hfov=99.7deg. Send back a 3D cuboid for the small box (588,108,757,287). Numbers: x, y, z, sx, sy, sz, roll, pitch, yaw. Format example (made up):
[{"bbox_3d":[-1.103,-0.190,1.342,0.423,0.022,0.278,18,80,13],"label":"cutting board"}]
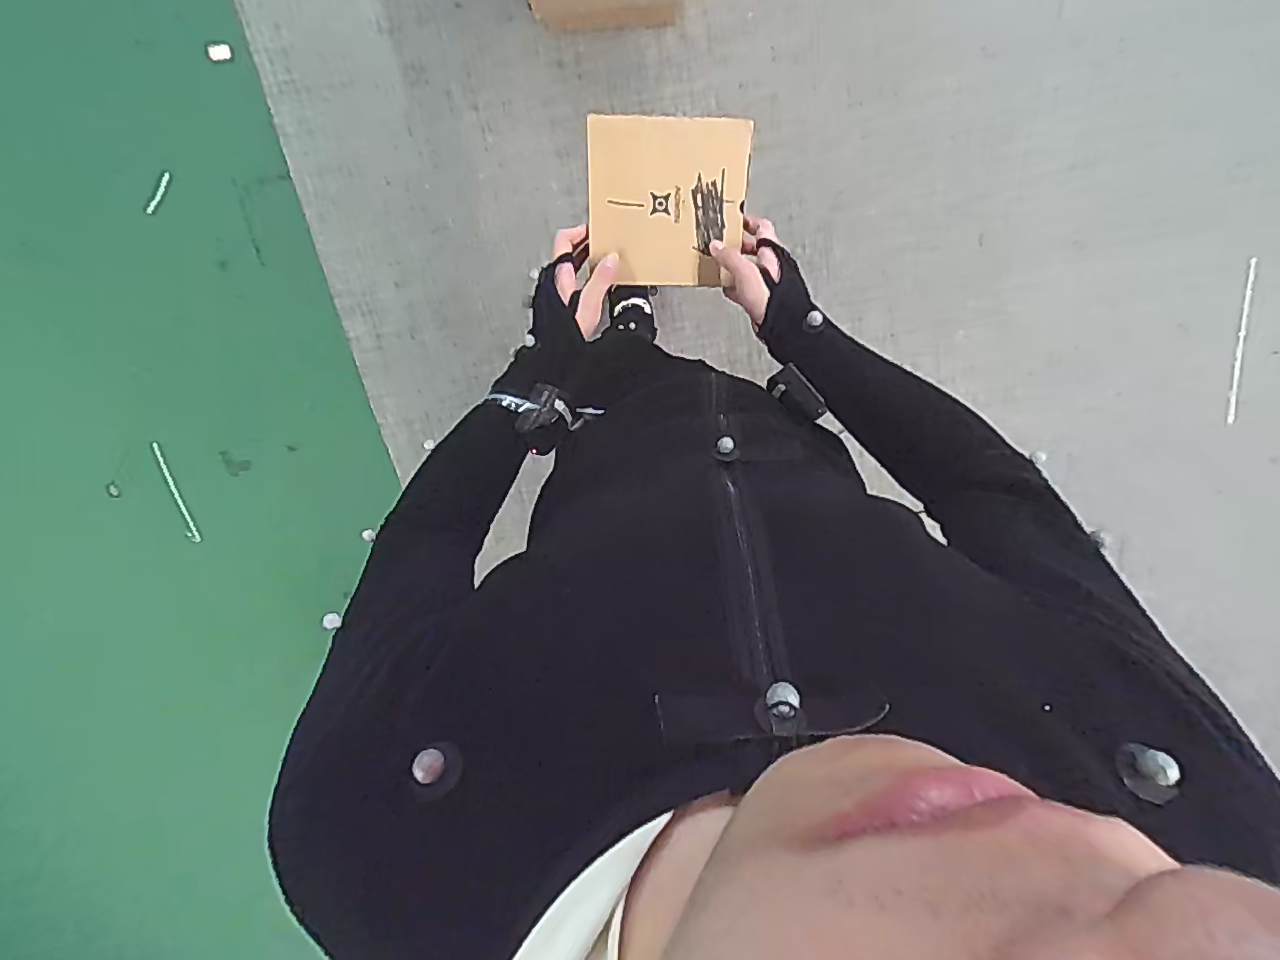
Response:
[{"bbox_3d":[0.028,-0.326,0.650,0.179,0.176,0.168,0,111,-3],"label":"small box"}]
